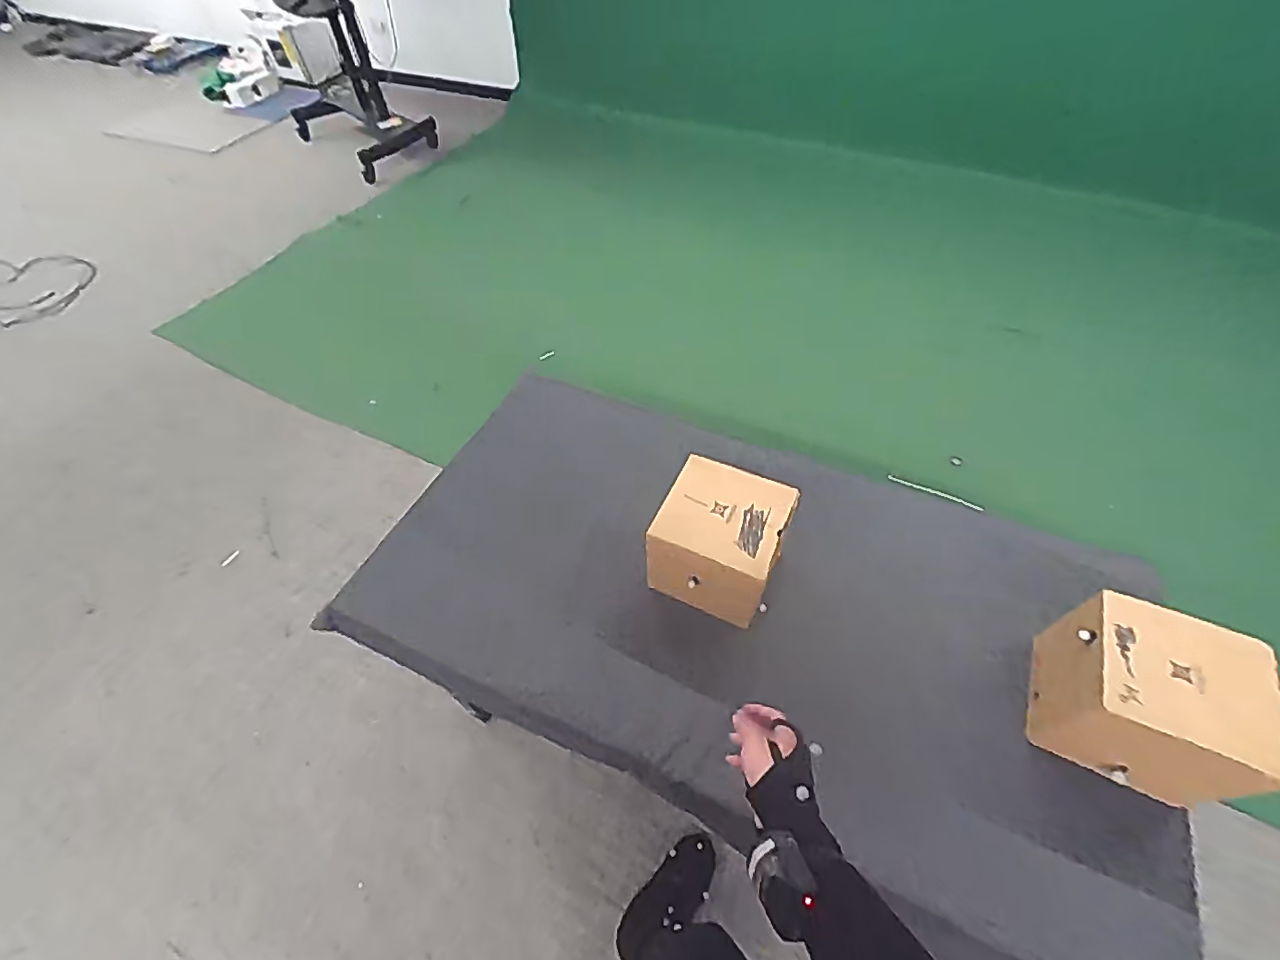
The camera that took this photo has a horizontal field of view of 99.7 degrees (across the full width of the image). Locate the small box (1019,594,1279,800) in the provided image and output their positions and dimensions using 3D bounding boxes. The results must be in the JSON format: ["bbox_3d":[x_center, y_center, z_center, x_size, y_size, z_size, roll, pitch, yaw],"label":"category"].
[{"bbox_3d":[0.629,0.281,0.689,0.179,0.176,0.168,22,56,16],"label":"small box"}]

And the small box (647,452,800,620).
[{"bbox_3d":[0.123,0.092,0.835,0.179,0.176,0.168,22,55,17],"label":"small box"}]
